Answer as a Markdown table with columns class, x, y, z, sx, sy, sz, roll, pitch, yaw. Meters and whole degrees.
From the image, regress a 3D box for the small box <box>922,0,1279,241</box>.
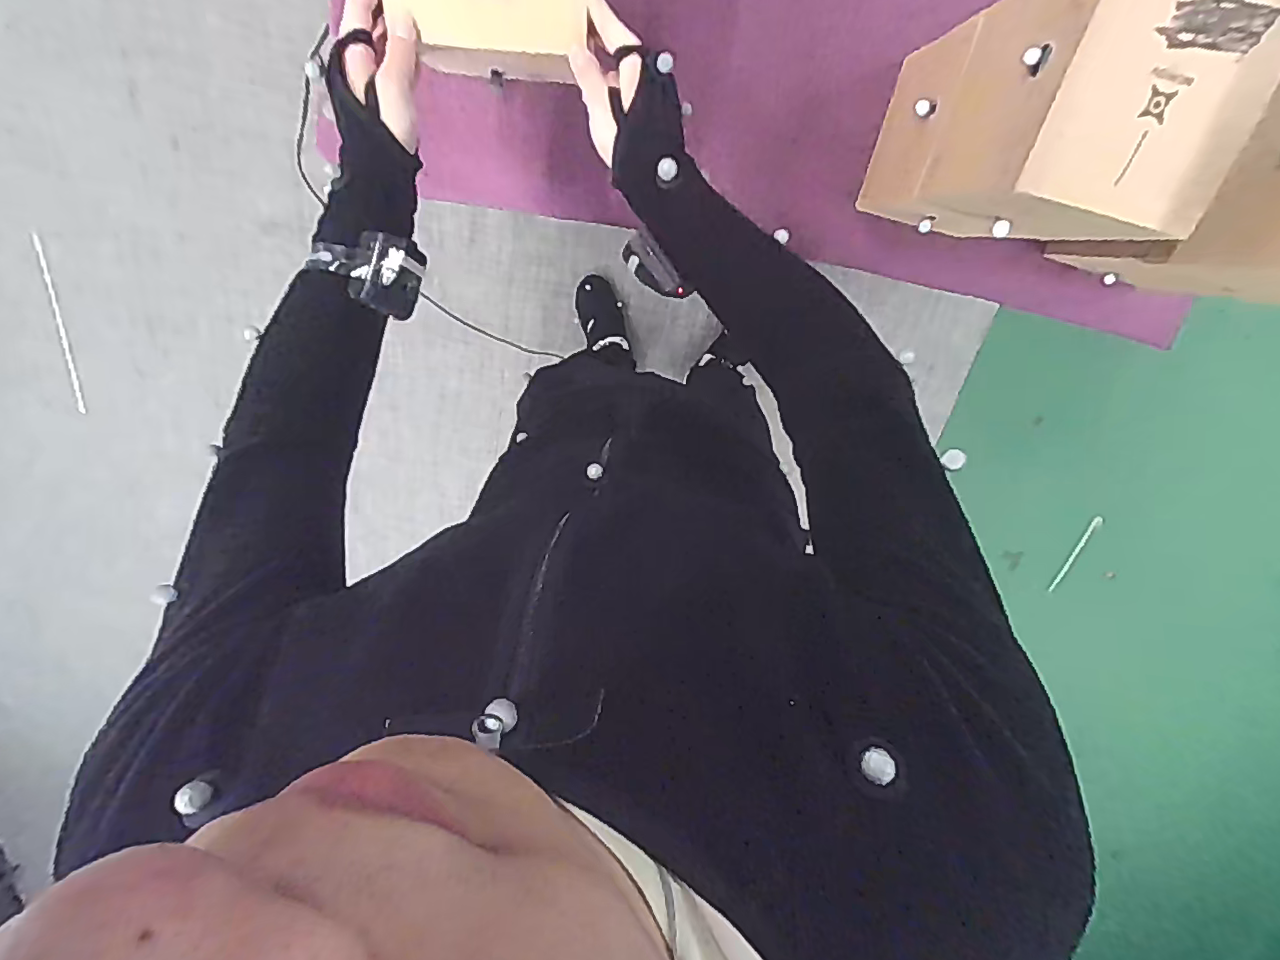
| class | x | y | z | sx | sy | sz | roll | pitch | yaw |
| --- | --- | --- | --- | --- | --- | --- | --- | --- | --- |
| small box | 0.393 | -0.328 | 0.486 | 0.168 | 0.176 | 0.179 | 12 | 114 | -6 |

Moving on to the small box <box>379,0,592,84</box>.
| class | x | y | z | sx | sy | sz | roll | pitch | yaw |
| --- | --- | --- | --- | --- | --- | --- | --- | --- | --- |
| small box | -0.127 | -0.475 | 0.477 | 0.168 | 0.176 | 0.179 | 2 | 120 | -4 |

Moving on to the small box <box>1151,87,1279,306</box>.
| class | x | y | z | sx | sy | sz | roll | pitch | yaw |
| --- | --- | --- | --- | --- | --- | --- | --- | --- | --- |
| small box | 0.668 | -0.270 | 0.518 | 0.168 | 0.176 | 0.179 | 13 | 113 | -6 |

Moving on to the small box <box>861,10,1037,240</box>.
| class | x | y | z | sx | sy | sz | roll | pitch | yaw |
| --- | --- | --- | --- | --- | --- | --- | --- | --- | --- |
| small box | 0.387 | -0.394 | 0.636 | 0.168 | 0.176 | 0.179 | 11 | 113 | -6 |
